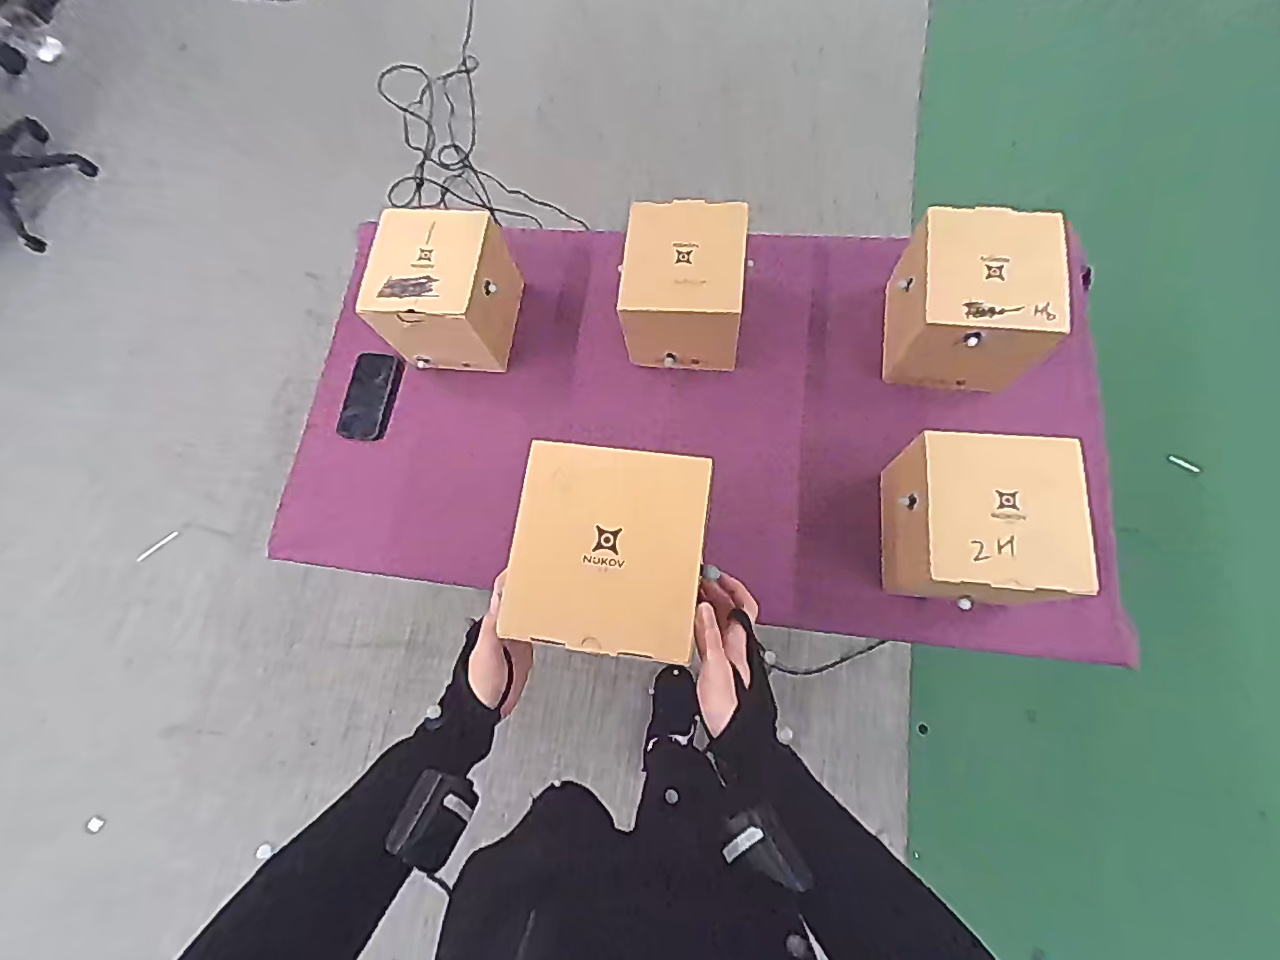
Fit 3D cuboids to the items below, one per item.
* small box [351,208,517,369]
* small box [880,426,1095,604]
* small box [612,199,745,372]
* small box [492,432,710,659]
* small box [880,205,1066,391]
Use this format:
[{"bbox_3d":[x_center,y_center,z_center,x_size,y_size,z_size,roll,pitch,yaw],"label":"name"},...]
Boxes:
[{"bbox_3d":[-0.304,-0.288,0.837,0.168,0.176,0.179,5,74,7],"label":"small box"},{"bbox_3d":[0.402,0.050,0.660,0.168,0.176,0.179,4,74,9],"label":"small box"},{"bbox_3d":[0.060,-0.281,0.800,0.168,0.176,0.179,5,75,8],"label":"small box"},{"bbox_3d":[-0.026,0.068,0.534,0.168,0.176,0.179,7,78,7],"label":"small box"},{"bbox_3d":[0.443,-0.244,0.747,0.168,0.176,0.179,6,74,9],"label":"small box"}]
